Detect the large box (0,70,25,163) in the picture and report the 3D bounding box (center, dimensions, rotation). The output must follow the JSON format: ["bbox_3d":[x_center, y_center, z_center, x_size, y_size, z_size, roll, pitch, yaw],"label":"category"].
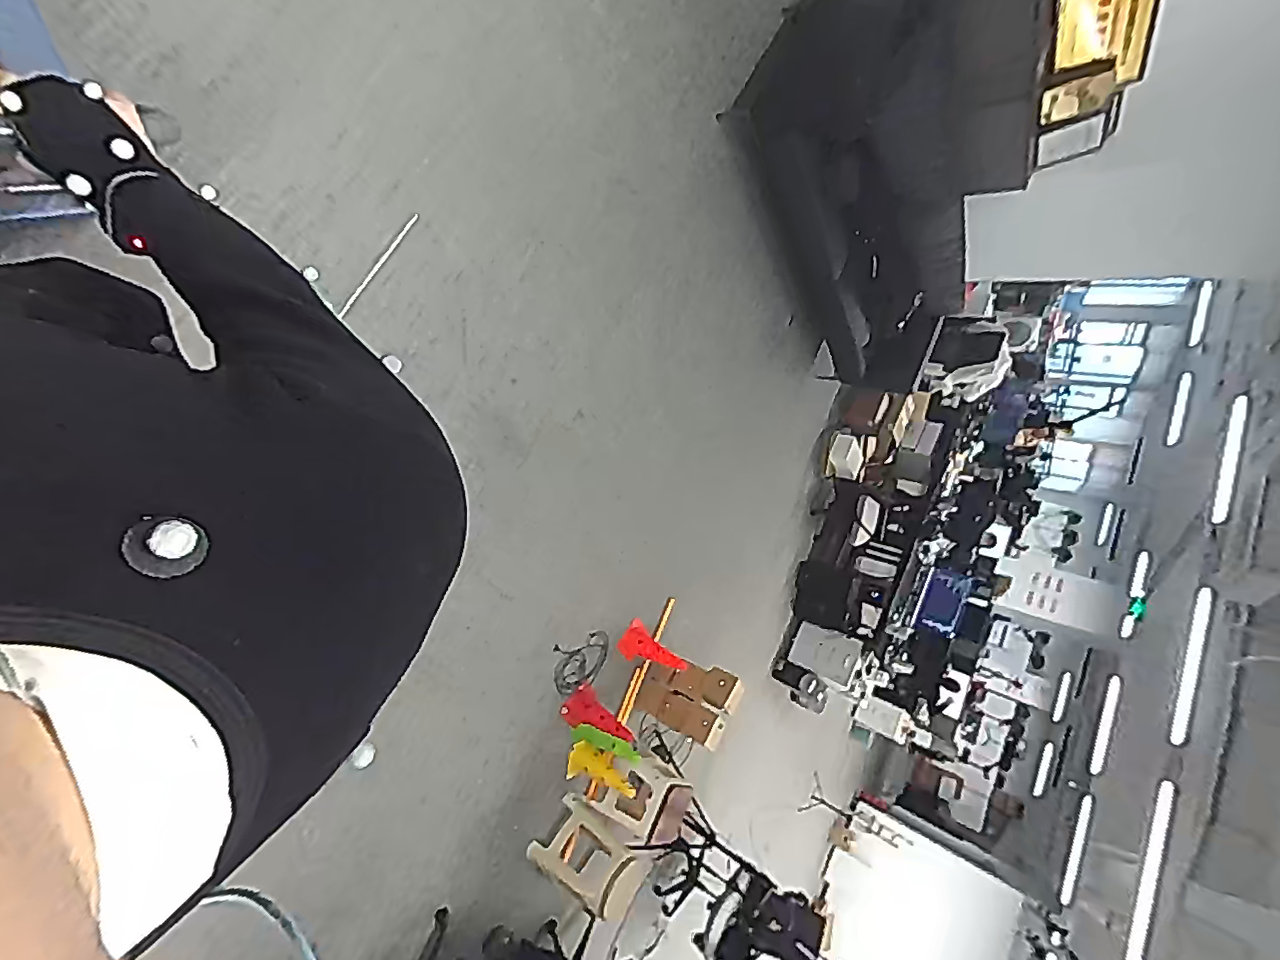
[{"bbox_3d":[-1.077,-0.624,0.652,0.320,0.320,0.408,-33,126,-41],"label":"large box"}]
